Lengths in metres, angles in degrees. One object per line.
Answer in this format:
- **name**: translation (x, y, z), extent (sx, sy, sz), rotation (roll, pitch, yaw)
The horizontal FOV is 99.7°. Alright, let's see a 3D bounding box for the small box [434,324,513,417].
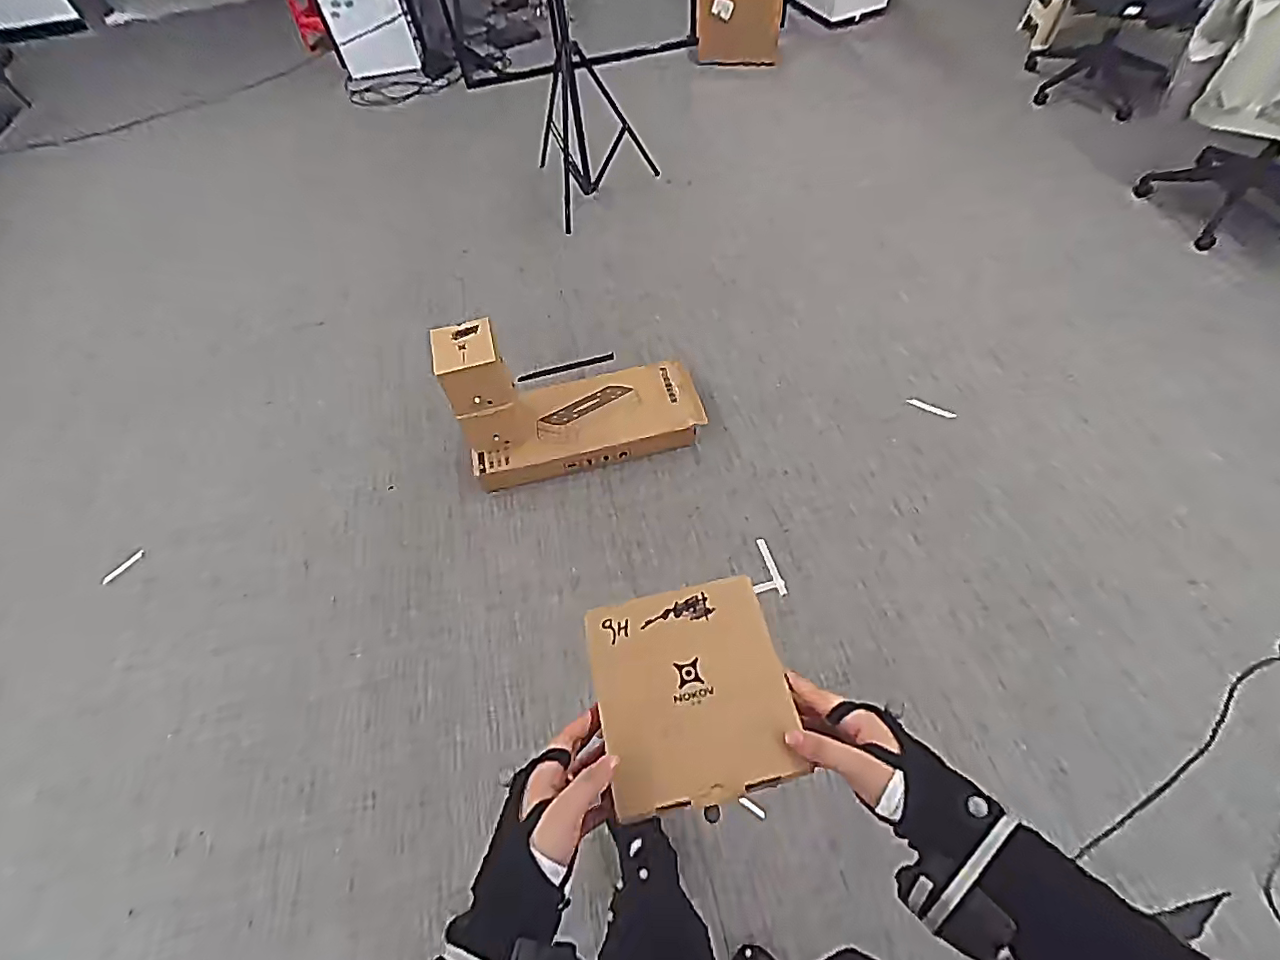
- **small box**: translation (-0.470, -0.307, 1.533), extent (0.168, 0.176, 0.179), rotation (-15, 57, -5)

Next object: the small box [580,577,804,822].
- **small box**: translation (0.043, 0.222, 0.543), extent (0.168, 0.176, 0.179), rotation (-12, 59, -5)

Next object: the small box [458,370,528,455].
- **small box**: translation (-0.452, -0.206, 1.662), extent (0.168, 0.176, 0.179), rotation (-14, 57, -4)
